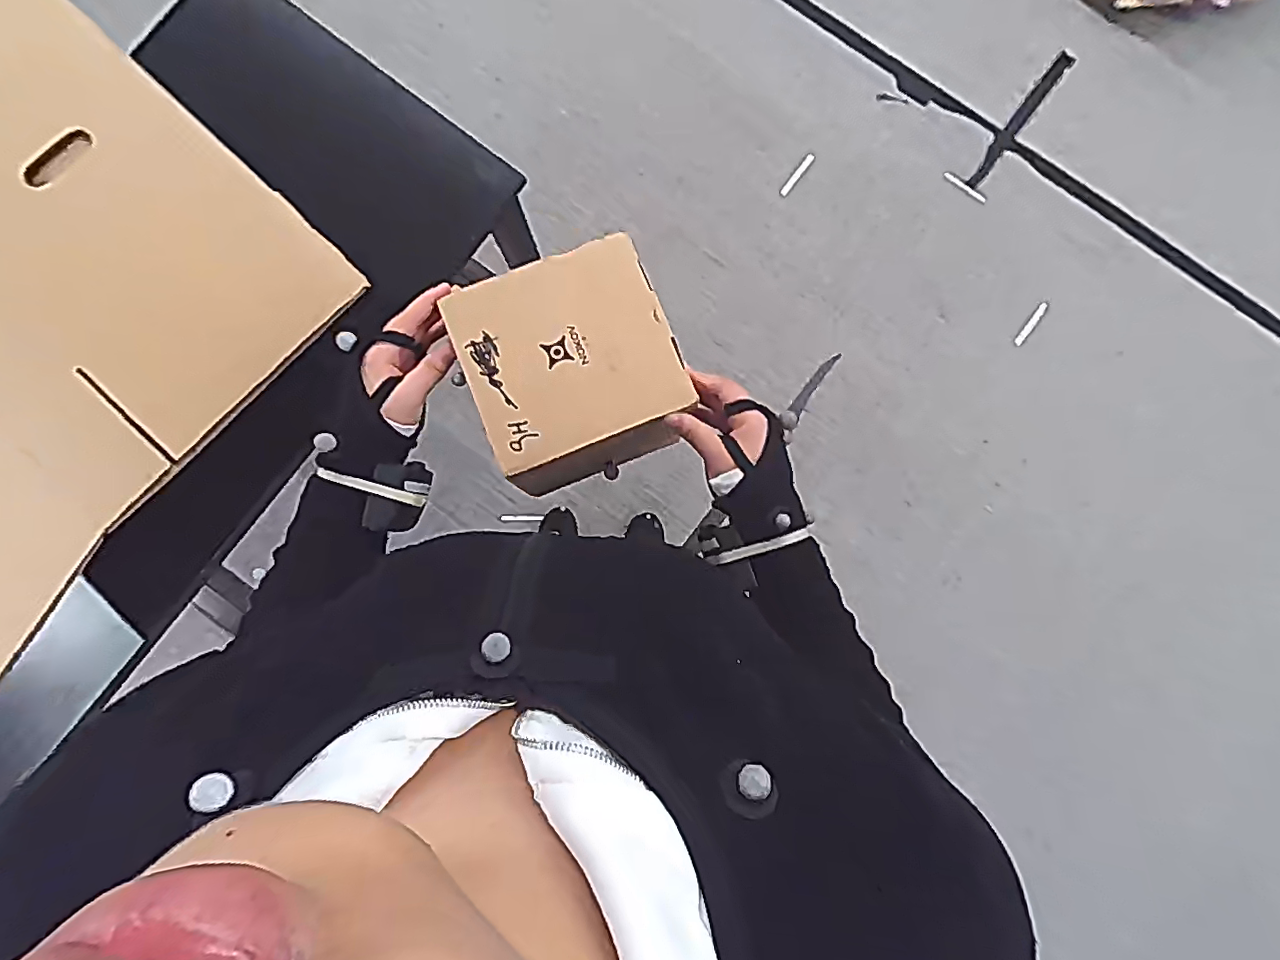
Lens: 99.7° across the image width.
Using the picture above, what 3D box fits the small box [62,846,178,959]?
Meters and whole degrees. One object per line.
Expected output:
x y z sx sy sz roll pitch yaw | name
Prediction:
-1.328 1.061 1.344 0.179 0.176 0.168 34 86 1 | small box

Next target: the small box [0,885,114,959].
-1.332 1.045 1.181 0.179 0.176 0.168 31 85 3 | small box
